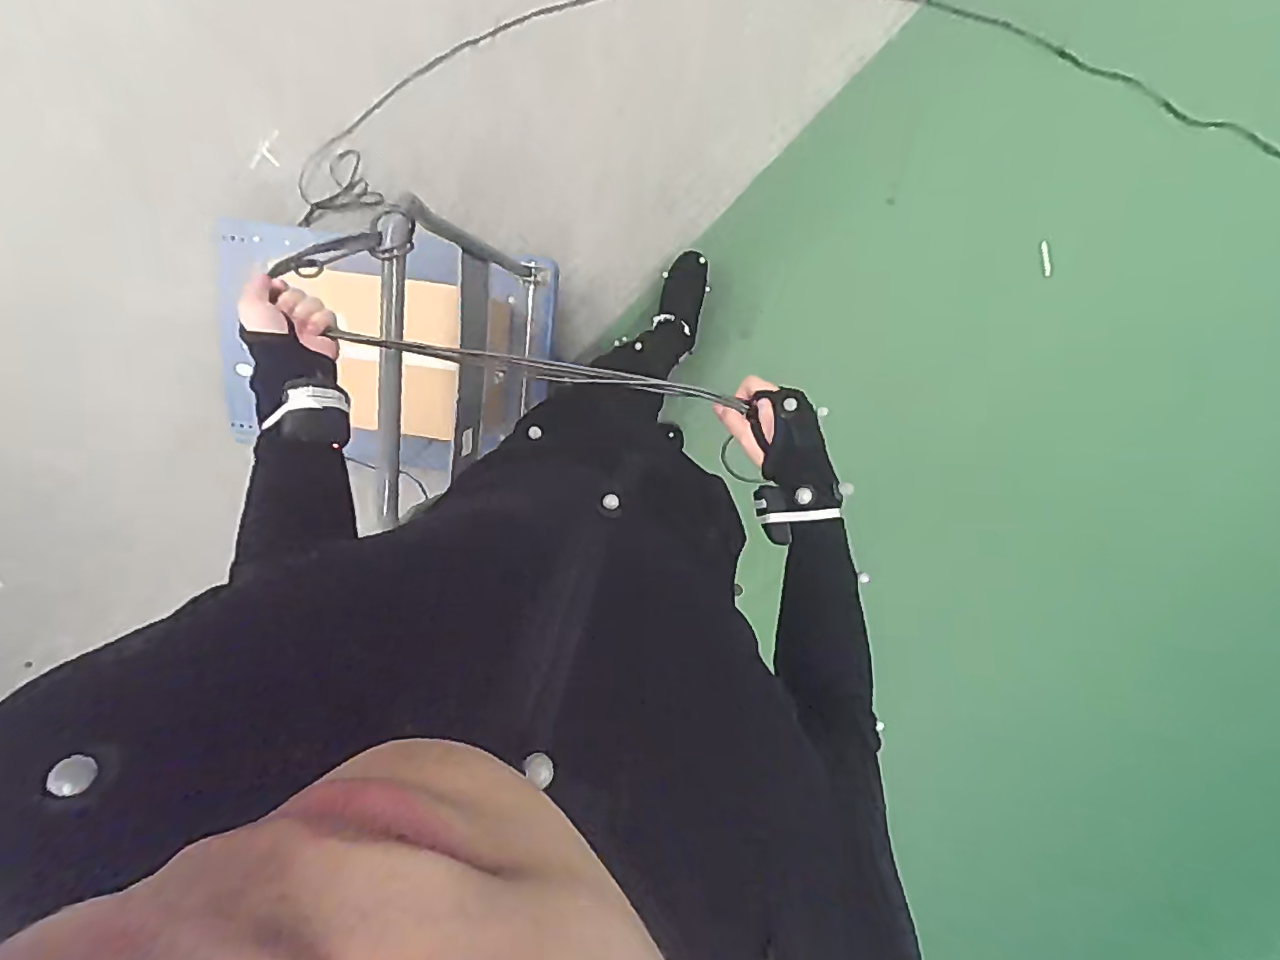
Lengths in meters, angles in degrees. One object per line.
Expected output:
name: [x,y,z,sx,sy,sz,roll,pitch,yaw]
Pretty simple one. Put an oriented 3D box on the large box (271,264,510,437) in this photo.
large box: [-0.541,-0.293,1.241,0.408,0.320,0.320,8,103,3]
